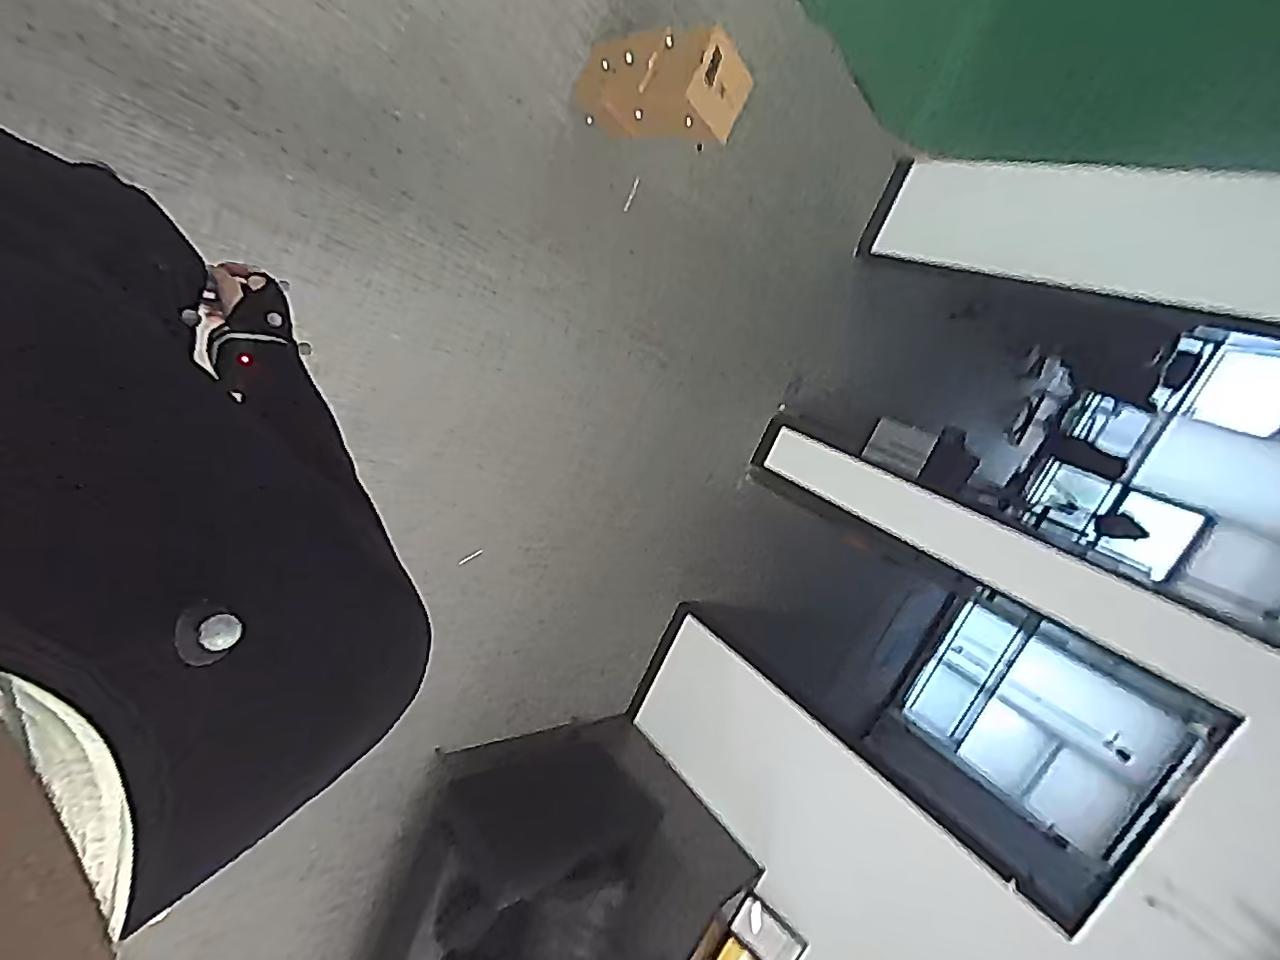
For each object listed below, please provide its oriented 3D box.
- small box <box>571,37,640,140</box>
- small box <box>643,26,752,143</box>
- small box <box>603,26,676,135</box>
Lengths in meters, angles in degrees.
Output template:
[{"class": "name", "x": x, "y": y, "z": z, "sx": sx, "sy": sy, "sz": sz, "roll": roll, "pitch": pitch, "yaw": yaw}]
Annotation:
[{"class": "small box", "x": -0.070, "y": -1.116, "z": 1.551, "sx": 0.168, "sy": 0.176, "sz": 0.179, "roll": 21, "pitch": 101, "yaw": -49}, {"class": "small box", "x": 0.137, "y": -0.970, "z": 1.343, "sx": 0.179, "sy": 0.176, "sz": 0.168, "roll": 18, "pitch": 102, "yaw": -49}, {"class": "small box", "x": 0.033, "y": -1.051, "z": 1.442, "sx": 0.179, "sy": 0.176, "sz": 0.168, "roll": 20, "pitch": 101, "yaw": -48}]
